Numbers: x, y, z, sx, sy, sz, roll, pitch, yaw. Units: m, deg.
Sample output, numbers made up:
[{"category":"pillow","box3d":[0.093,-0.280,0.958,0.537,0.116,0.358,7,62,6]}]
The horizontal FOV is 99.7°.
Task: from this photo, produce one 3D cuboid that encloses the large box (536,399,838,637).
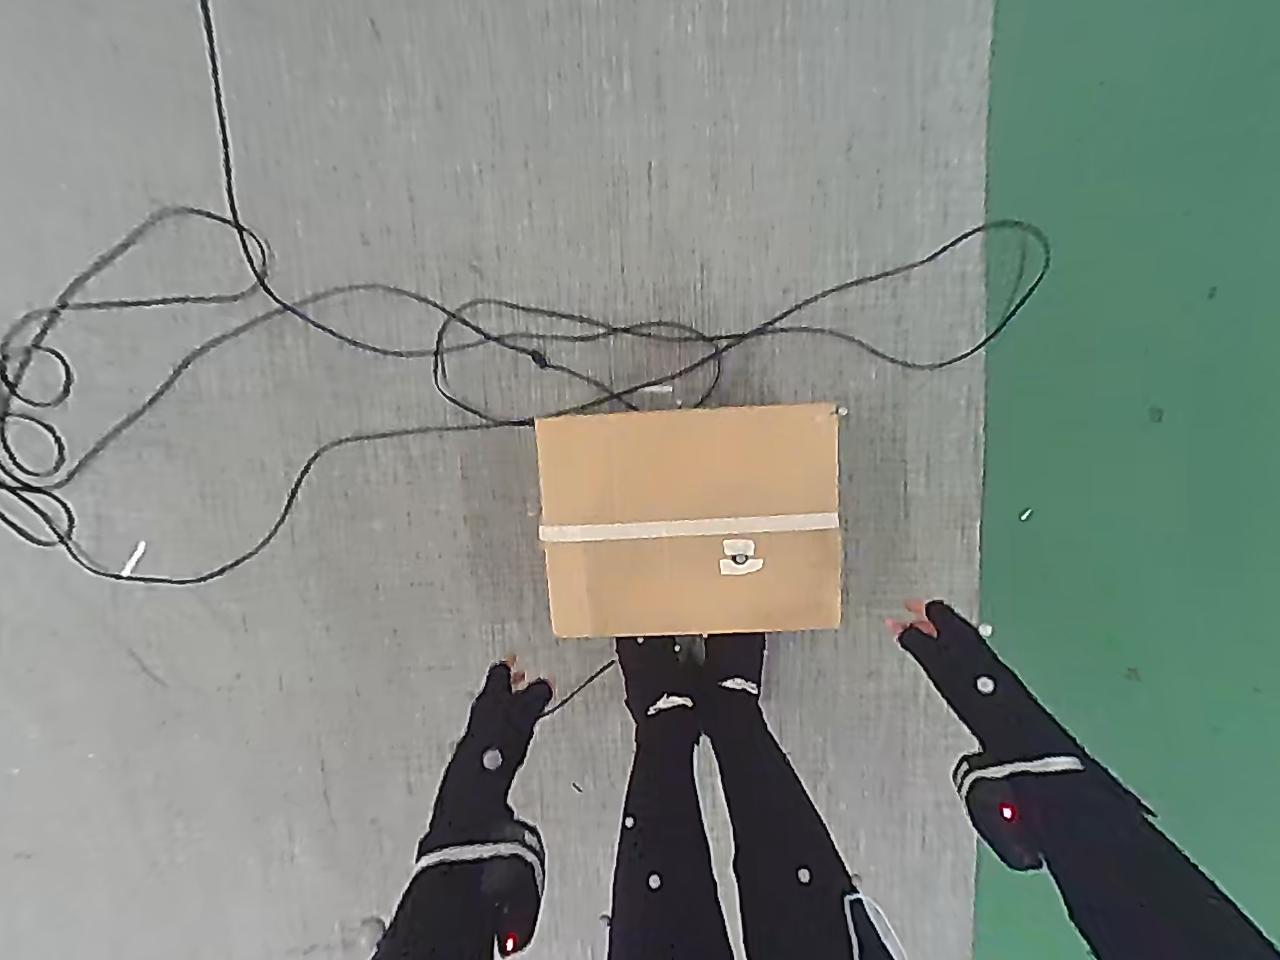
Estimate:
[{"category":"large box","box3d":[0.070,0.040,0.888,0.408,0.320,0.320,-3,98,2]}]
